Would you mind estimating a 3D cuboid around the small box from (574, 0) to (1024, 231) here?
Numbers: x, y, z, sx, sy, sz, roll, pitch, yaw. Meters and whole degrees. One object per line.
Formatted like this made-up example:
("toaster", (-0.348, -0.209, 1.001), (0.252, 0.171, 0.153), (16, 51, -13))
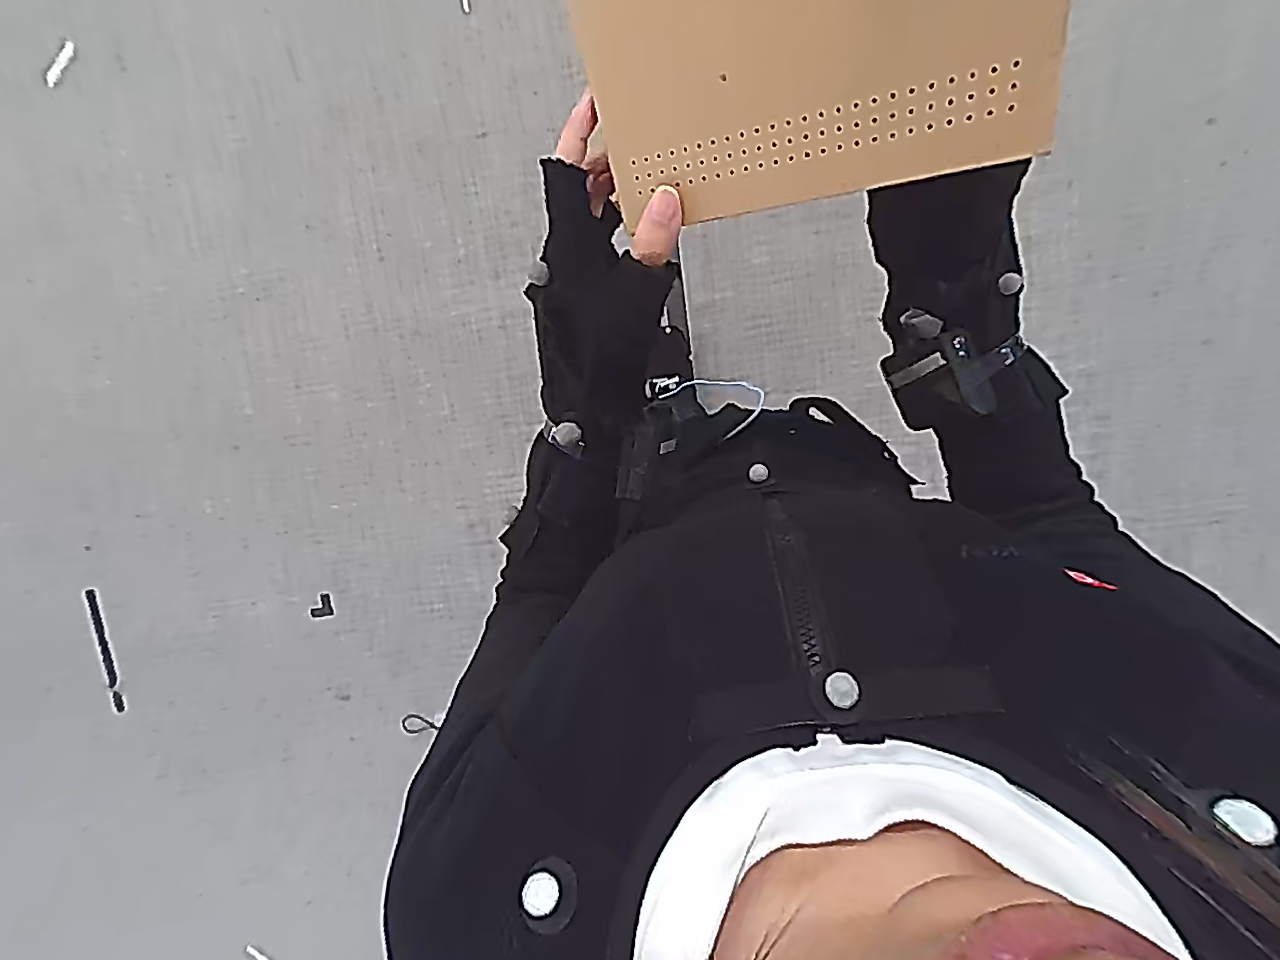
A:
("small box", (0.081, -0.241, 0.264), (0.179, 0.168, 0.176), (1, 126, 26))
